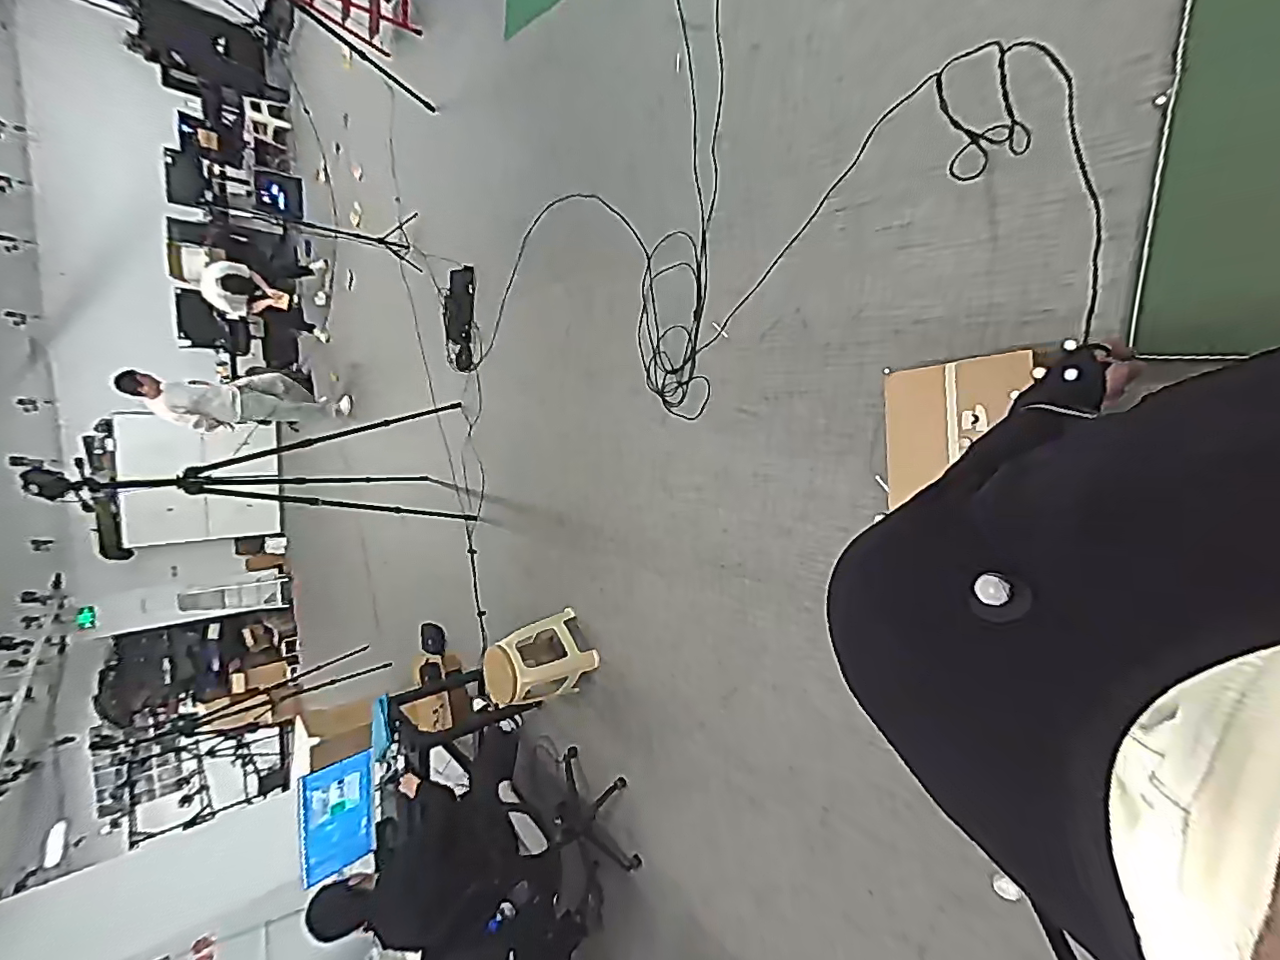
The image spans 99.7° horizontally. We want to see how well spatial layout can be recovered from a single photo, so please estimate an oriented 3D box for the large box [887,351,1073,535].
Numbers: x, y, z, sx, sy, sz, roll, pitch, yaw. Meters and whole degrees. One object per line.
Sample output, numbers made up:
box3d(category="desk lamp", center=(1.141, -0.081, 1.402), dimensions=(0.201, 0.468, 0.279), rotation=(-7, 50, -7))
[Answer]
box3d(category="large box", center=(0.850, -0.077, 1.354), dimensions=(0.320, 0.320, 0.408), rotation=(-2, 90, 48))
